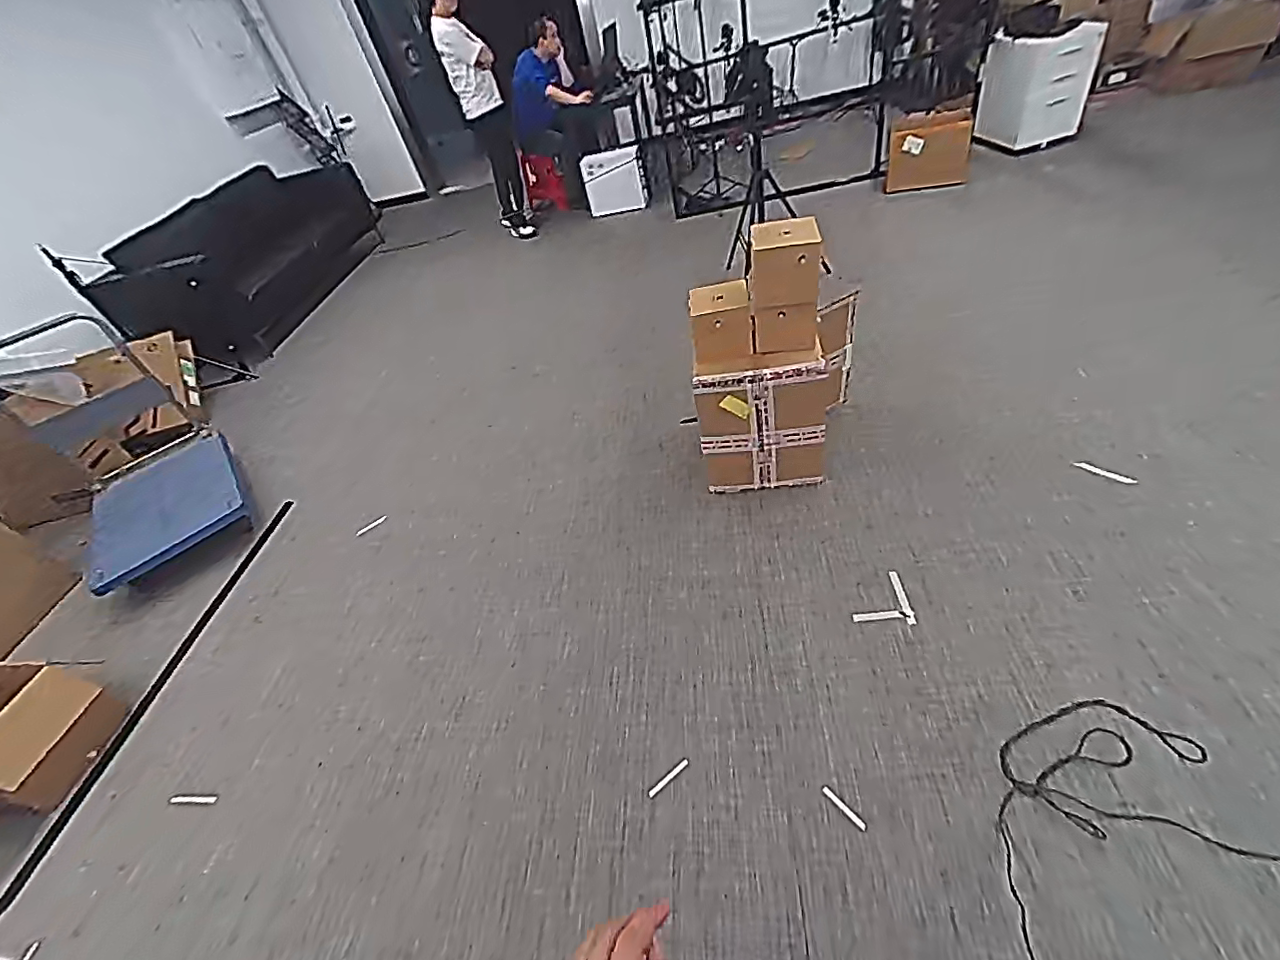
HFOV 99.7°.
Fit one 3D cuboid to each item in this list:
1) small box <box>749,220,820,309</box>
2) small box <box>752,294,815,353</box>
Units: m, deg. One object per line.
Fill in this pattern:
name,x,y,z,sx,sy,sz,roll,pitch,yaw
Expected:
small box,0.394,-0.594,1.500,0.179,0.176,0.168,-3,45,12
small box,0.432,-0.498,1.631,0.179,0.176,0.168,-1,46,14
